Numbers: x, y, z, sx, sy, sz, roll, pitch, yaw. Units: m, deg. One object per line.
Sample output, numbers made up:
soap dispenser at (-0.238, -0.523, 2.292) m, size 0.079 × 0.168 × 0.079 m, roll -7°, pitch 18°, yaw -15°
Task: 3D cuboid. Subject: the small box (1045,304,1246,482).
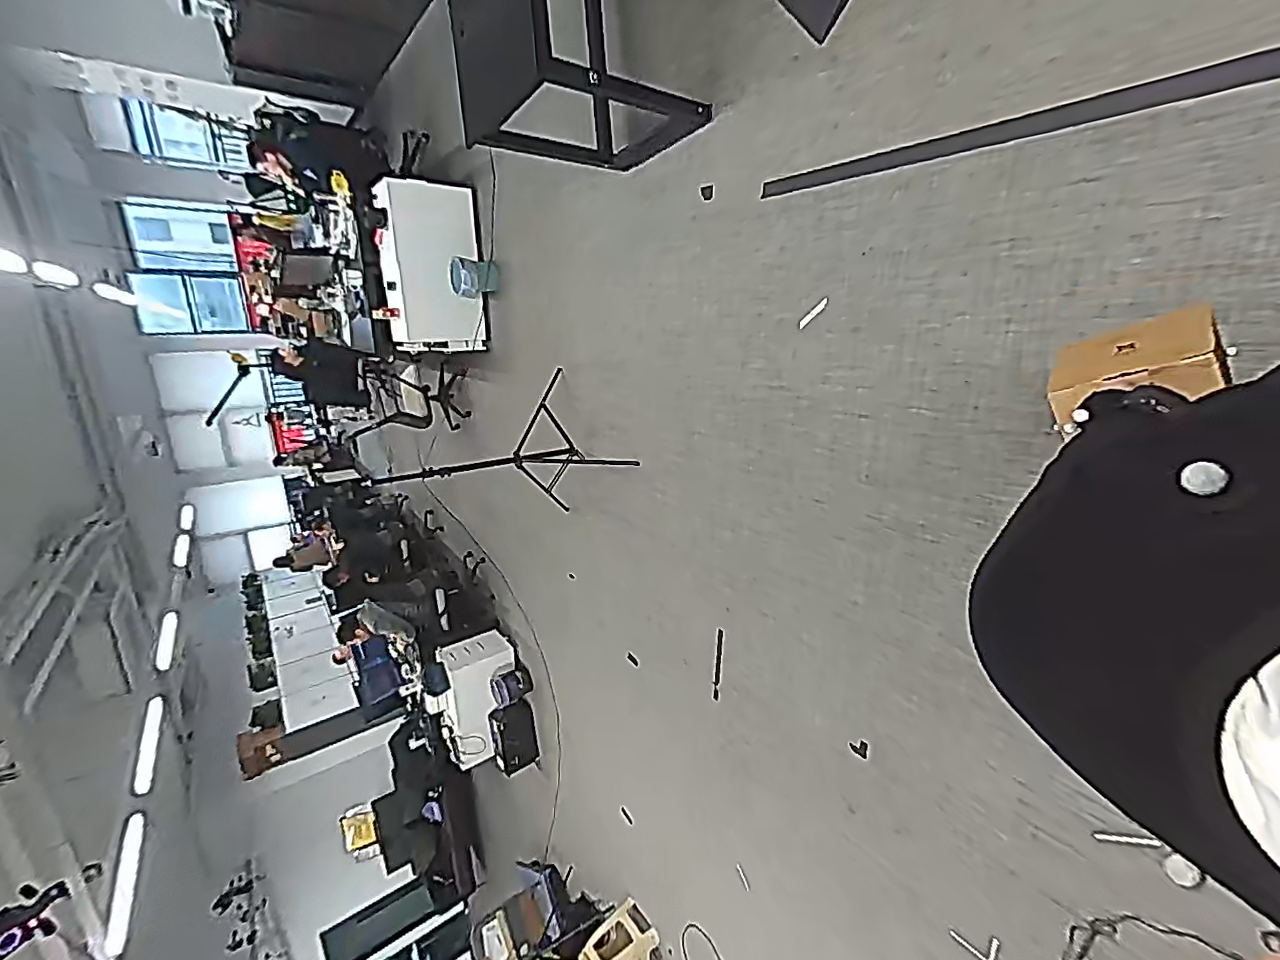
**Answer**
small box at (0.701, -0.109, 0.753) m, size 0.168 × 0.179 × 0.176 m, roll -16°, pitch 111°, yaw 50°
